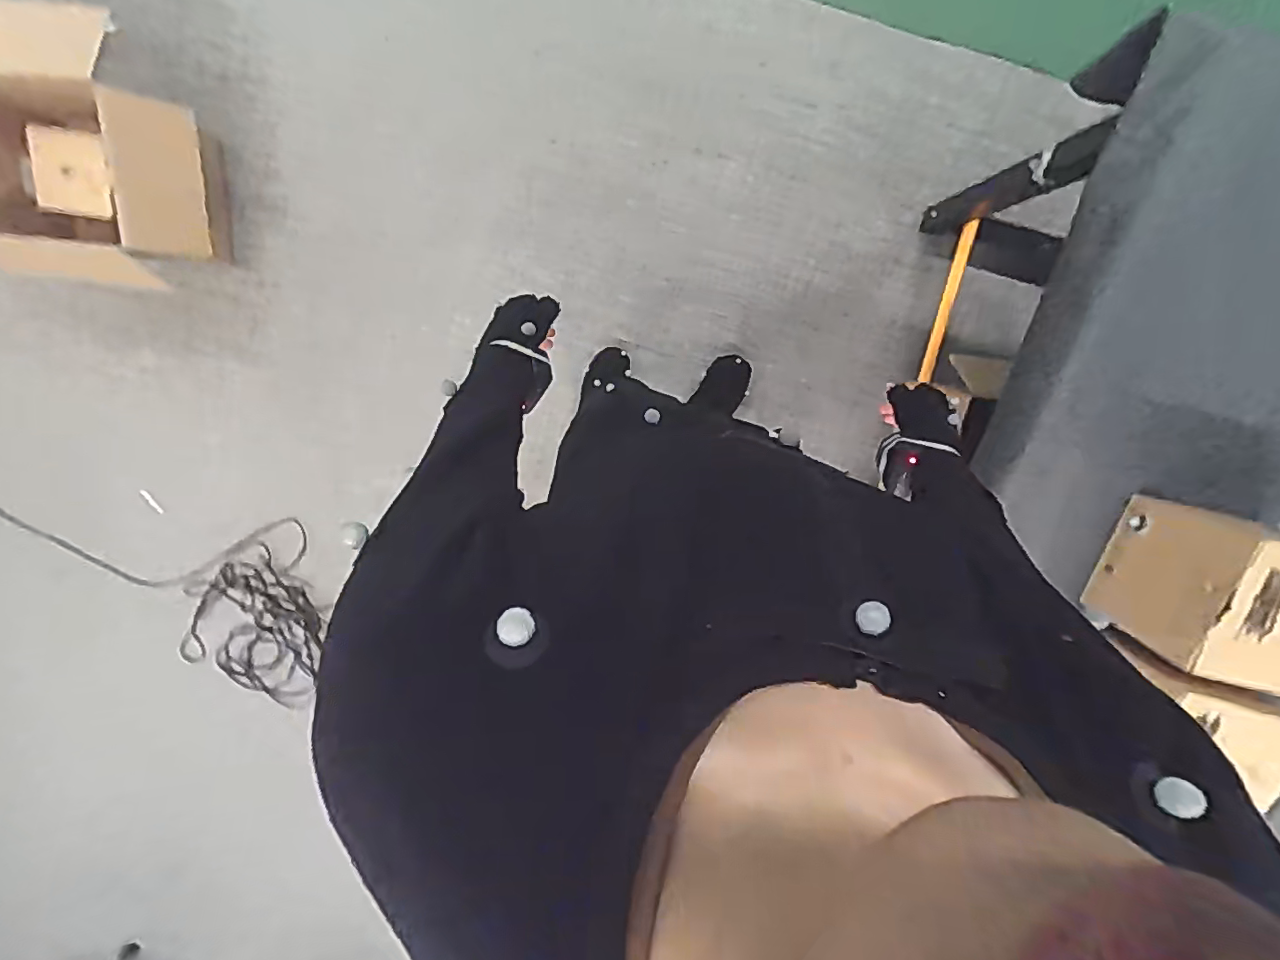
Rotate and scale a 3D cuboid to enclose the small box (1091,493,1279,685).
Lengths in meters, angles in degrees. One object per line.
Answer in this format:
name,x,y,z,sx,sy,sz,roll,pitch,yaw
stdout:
small box,0.719,0.126,0.661,0.179,0.176,0.168,14,107,-1
